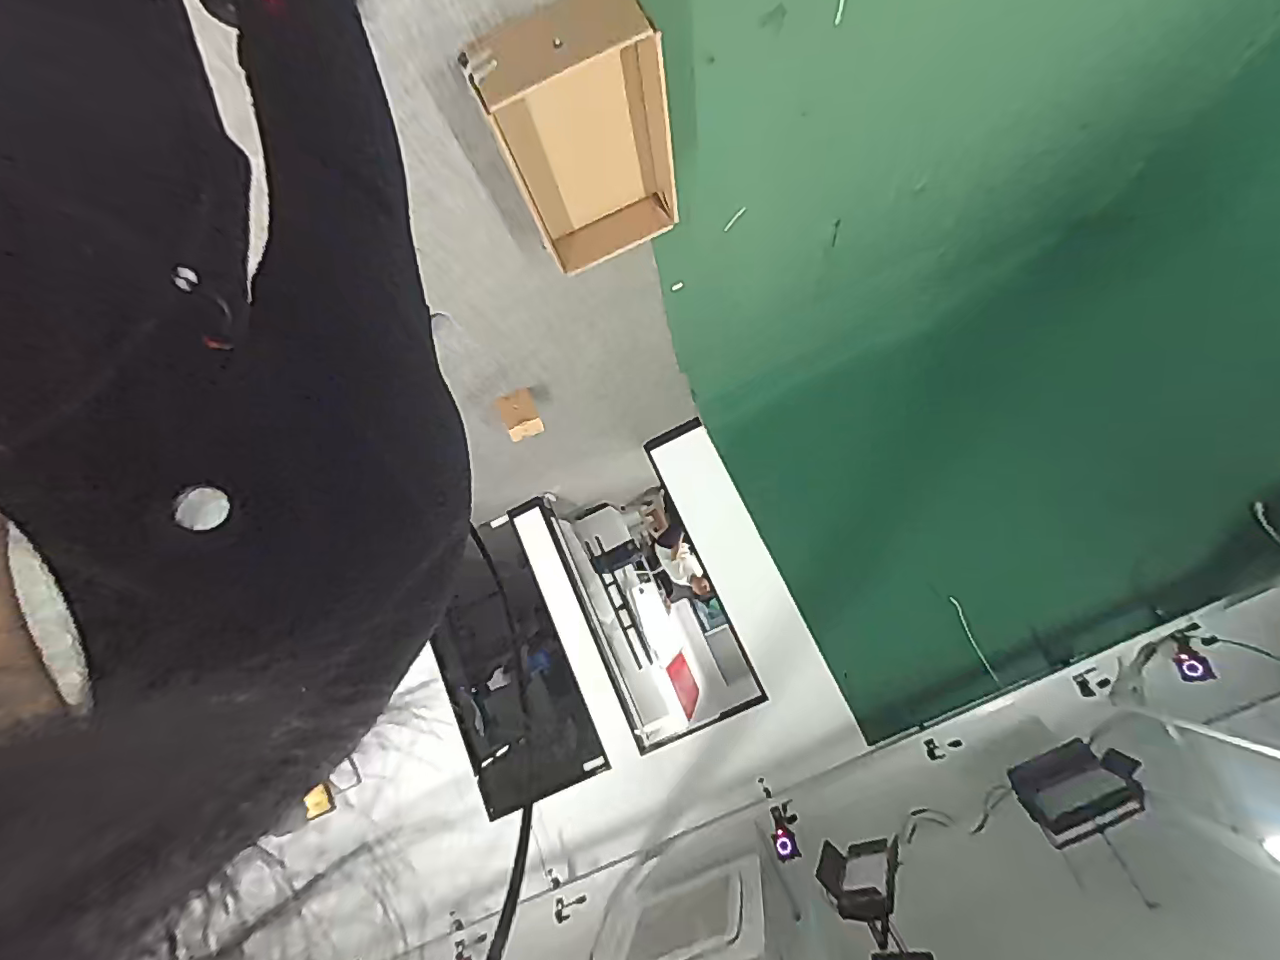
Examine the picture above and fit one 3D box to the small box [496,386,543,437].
[{"bbox_3d":[-0.592,-0.341,2.662,0.168,0.176,0.179,-23,166,-8],"label":"small box"}]
